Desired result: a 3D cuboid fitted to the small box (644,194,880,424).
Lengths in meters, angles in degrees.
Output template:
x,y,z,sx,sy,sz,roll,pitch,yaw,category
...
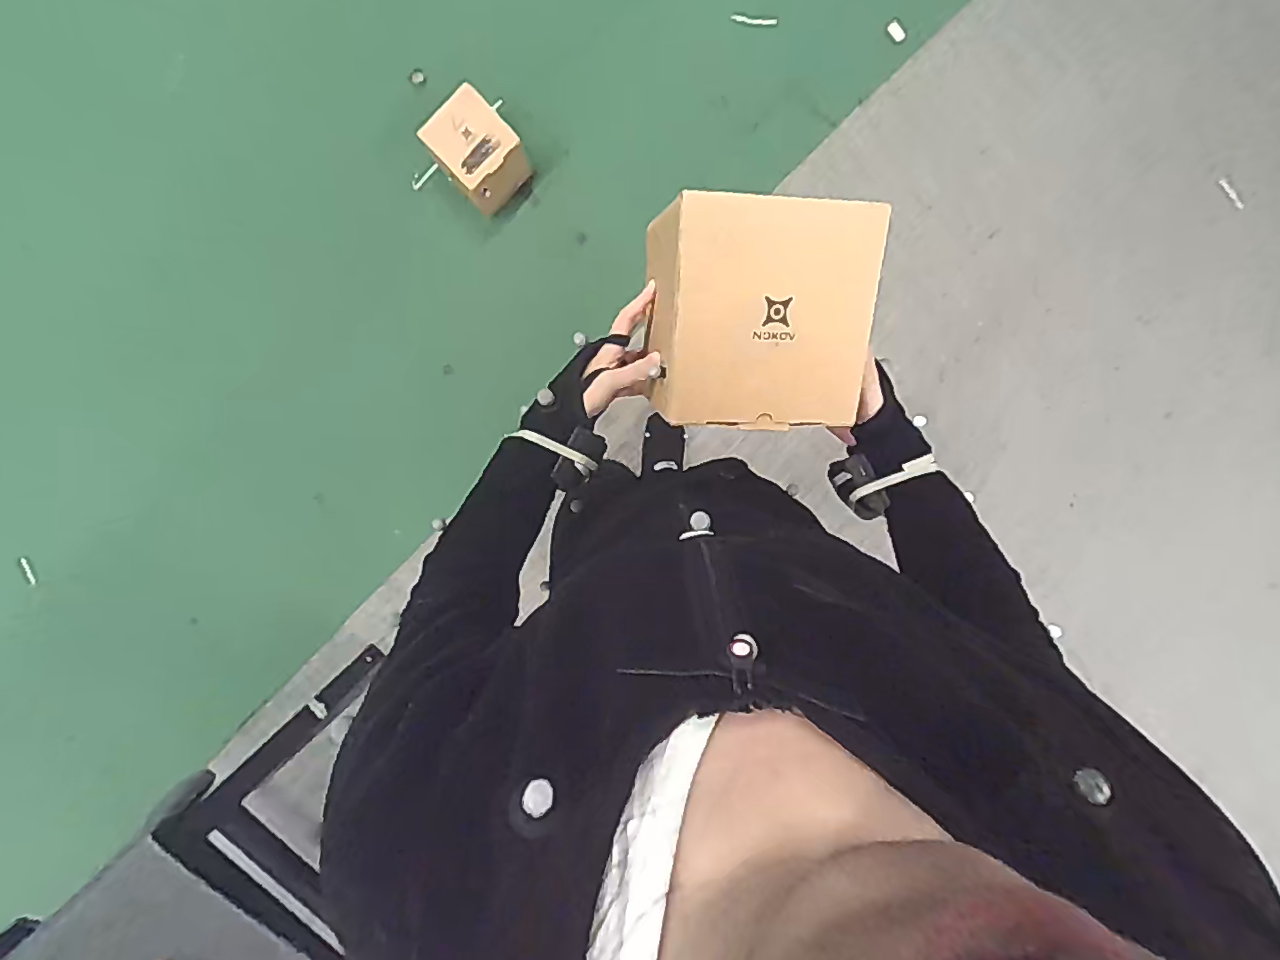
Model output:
x,y,z,sx,sy,sz,roll,pitch,yaw,category
0.095,-0.155,0.510,0.168,0.176,0.179,-2,109,-7,small box
